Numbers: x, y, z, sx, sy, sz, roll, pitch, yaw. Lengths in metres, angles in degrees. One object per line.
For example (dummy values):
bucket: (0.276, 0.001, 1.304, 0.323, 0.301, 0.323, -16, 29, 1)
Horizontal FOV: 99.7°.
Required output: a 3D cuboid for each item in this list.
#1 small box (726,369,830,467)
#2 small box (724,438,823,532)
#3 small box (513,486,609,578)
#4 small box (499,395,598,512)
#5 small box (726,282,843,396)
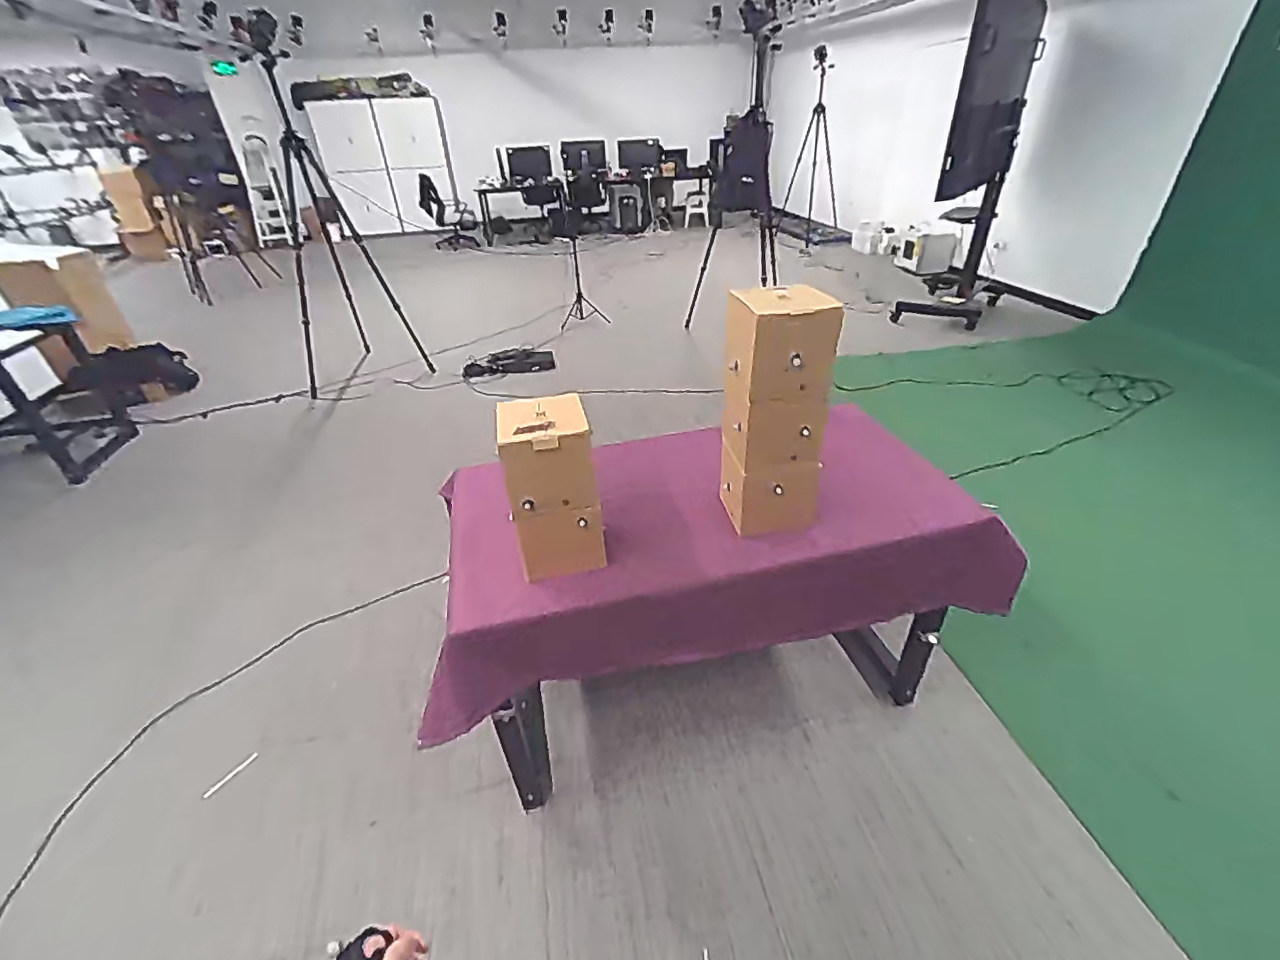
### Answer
small box: (0.284, -0.136, 1.149, 0.168, 0.176, 0.179, -7, 33, -5)
small box: (0.295, 0.003, 1.232, 0.179, 0.176, 0.168, -7, 35, -5)
small box: (-0.169, 0.089, 1.158, 0.179, 0.176, 0.168, -9, 34, -8)
small box: (-0.180, -0.049, 1.070, 0.168, 0.176, 0.179, -9, 33, -9)
small box: (0.271, -0.272, 1.057, 0.168, 0.176, 0.179, -7, 35, -6)
